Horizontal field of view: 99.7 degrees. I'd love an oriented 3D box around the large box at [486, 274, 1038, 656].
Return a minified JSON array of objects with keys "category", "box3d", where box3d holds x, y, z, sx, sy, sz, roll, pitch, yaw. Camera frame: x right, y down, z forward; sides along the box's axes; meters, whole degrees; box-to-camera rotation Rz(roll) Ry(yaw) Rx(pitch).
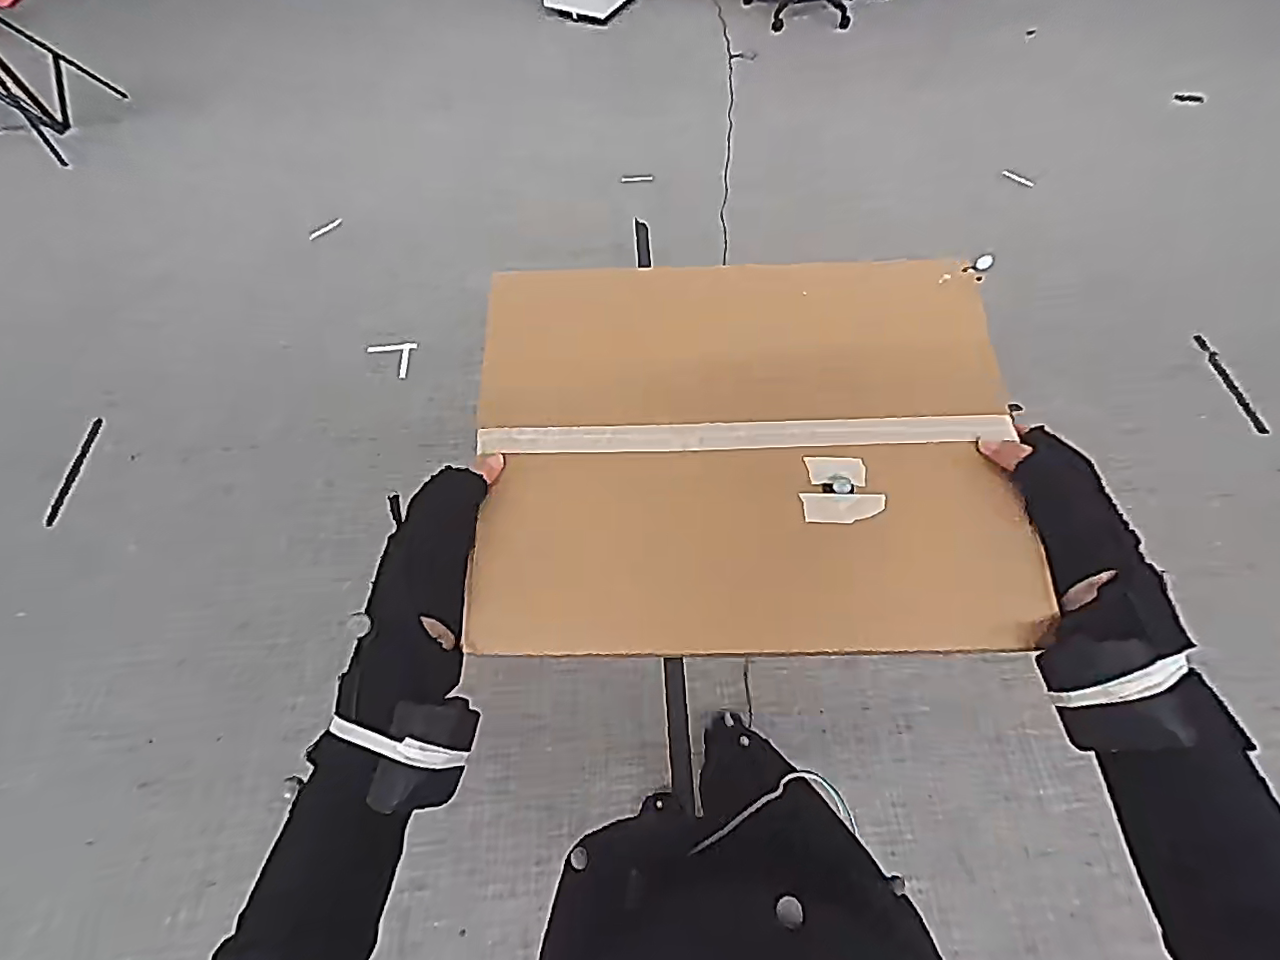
[{"category":"large box","box3d":[0.085,0.017,0.571,0.408,0.320,0.320,-1,73,2]}]
